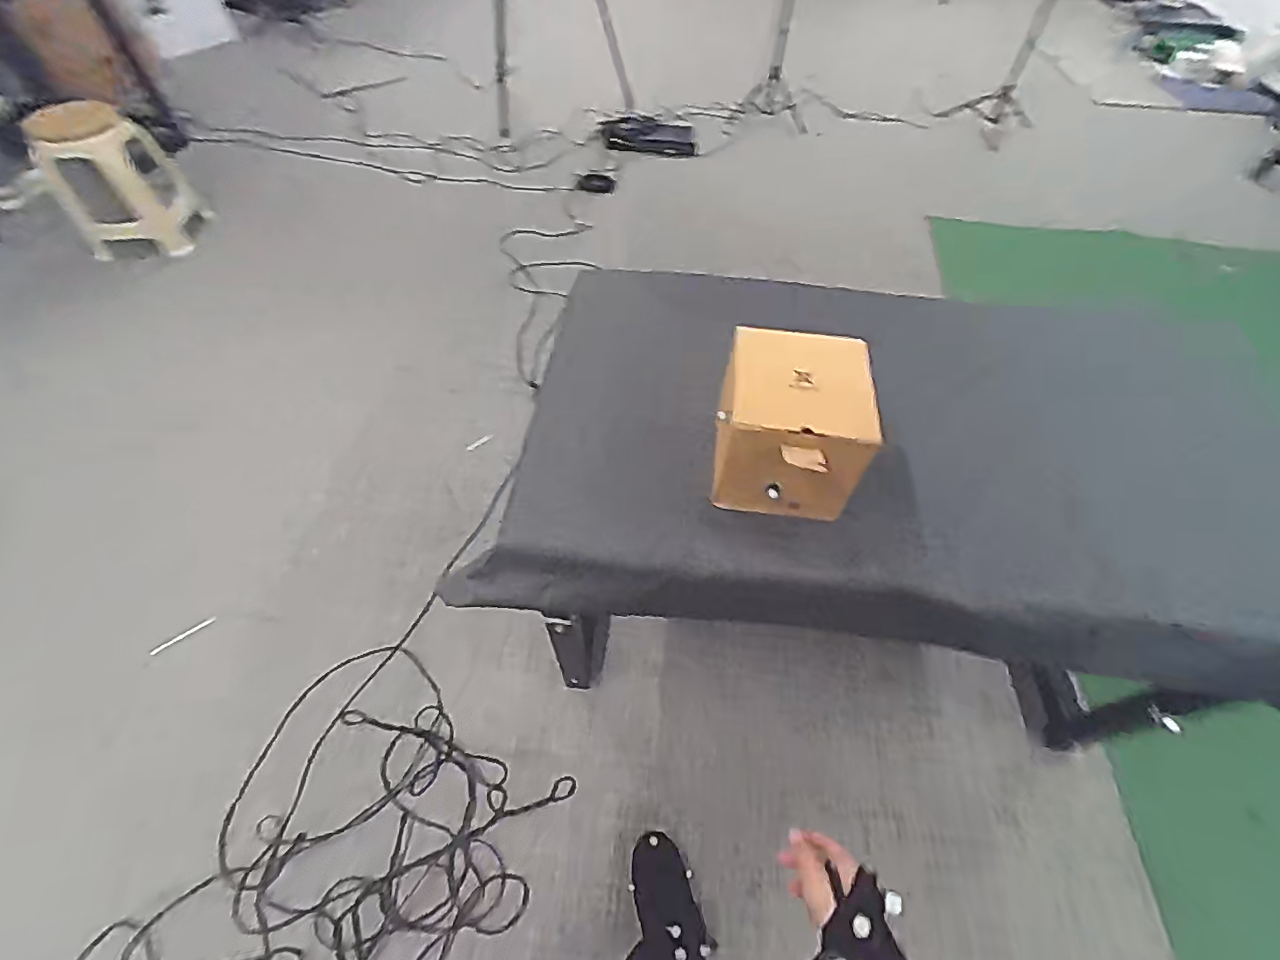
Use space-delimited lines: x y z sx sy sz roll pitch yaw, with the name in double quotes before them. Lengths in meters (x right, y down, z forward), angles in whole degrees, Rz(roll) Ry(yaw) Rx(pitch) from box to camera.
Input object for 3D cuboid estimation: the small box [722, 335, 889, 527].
"small box" 0.205 -0.063 0.719 0.168 0.176 0.179 8 54 3
